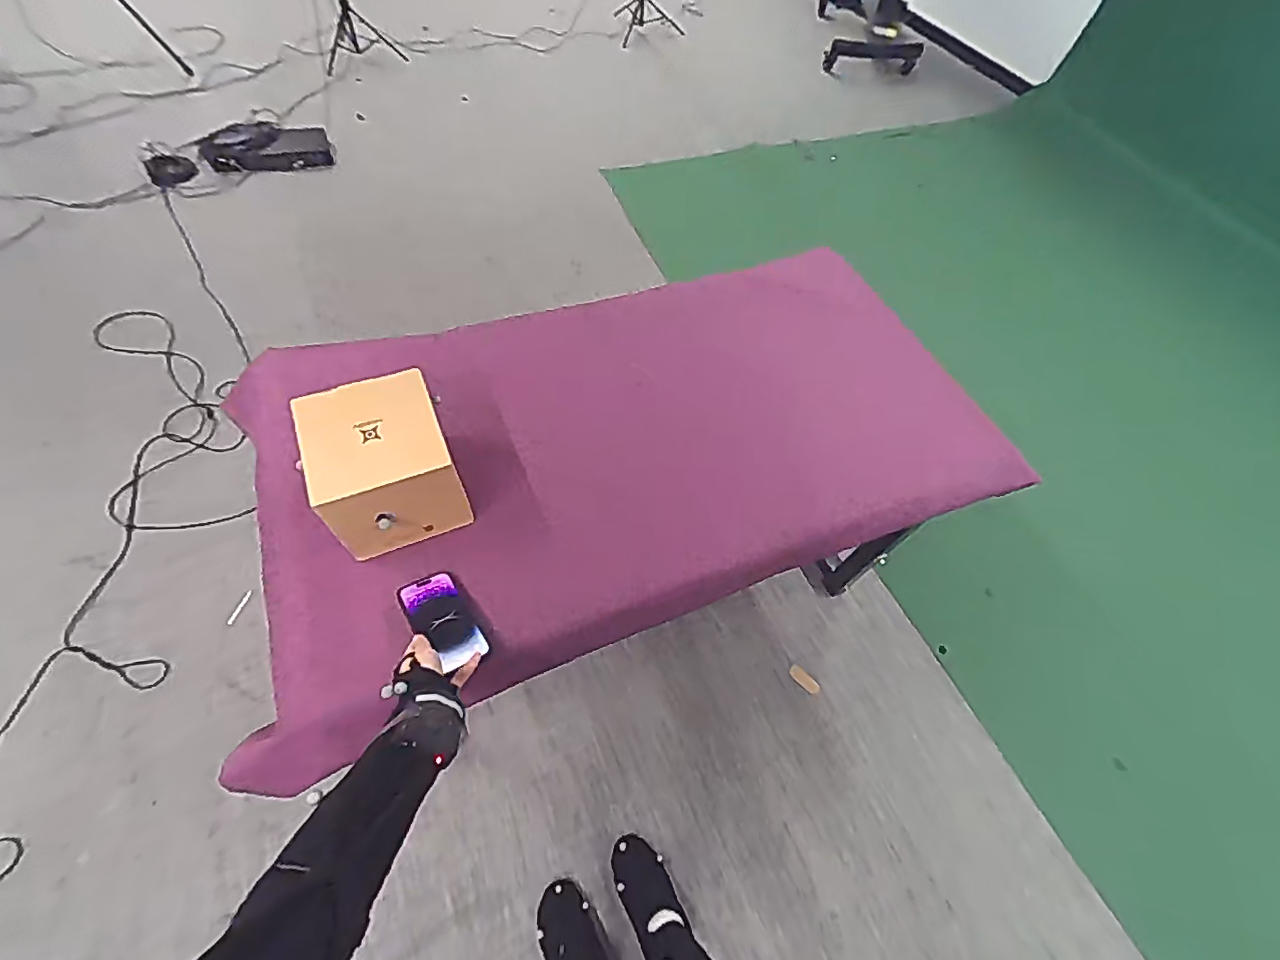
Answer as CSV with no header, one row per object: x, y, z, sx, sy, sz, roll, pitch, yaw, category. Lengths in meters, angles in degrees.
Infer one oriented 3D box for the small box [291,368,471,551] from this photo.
-0.349,-0.020,0.751,0.168,0.176,0.179,-20,61,-17,small box
